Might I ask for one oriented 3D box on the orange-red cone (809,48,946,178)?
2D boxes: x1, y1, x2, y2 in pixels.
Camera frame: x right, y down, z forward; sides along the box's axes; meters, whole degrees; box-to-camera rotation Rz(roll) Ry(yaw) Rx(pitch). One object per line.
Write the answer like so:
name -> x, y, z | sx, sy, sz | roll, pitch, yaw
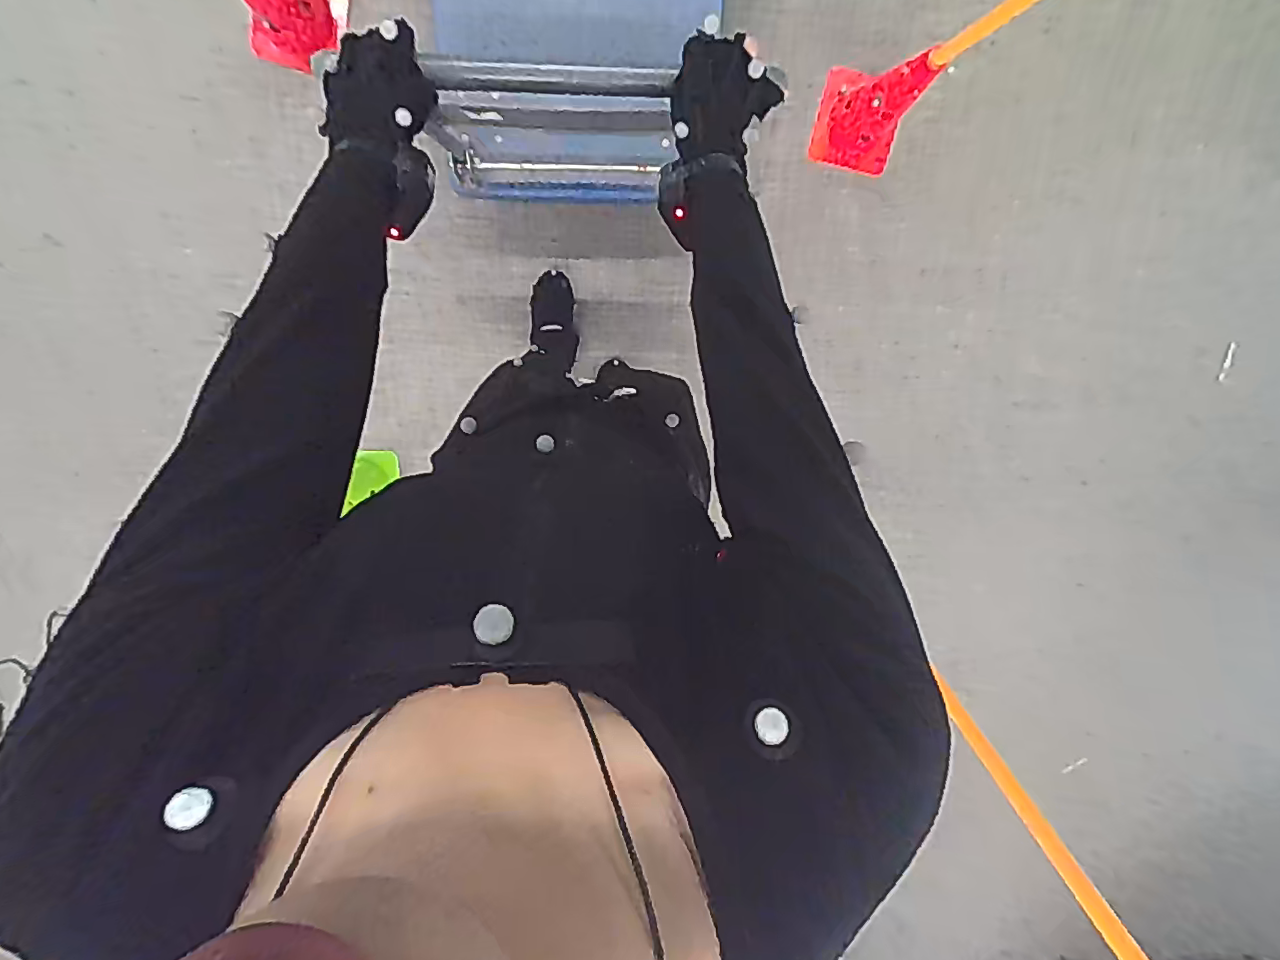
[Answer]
orange-red cone -> 0.527, -0.799, 1.133 | 0.198, 0.360, 0.199 | 13, 107, -5
